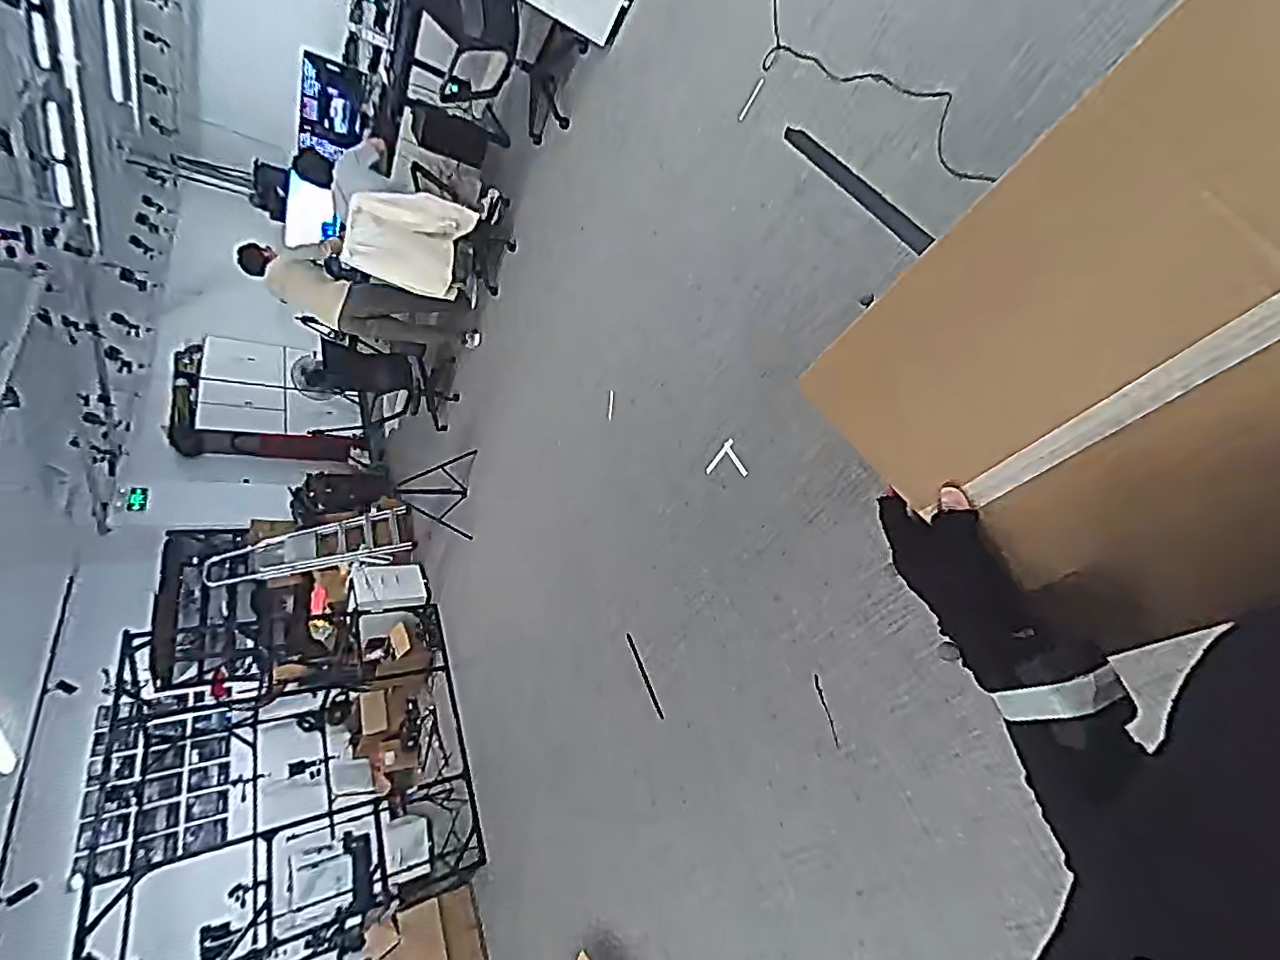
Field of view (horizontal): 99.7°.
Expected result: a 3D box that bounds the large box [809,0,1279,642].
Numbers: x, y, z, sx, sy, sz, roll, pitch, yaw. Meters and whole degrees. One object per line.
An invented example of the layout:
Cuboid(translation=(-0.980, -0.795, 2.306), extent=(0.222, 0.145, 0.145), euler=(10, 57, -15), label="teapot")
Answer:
Cuboid(translation=(0.420, -0.146, 0.423), extent=(0.320, 0.320, 0.408), euler=(47, 134, 6), label="large box")
